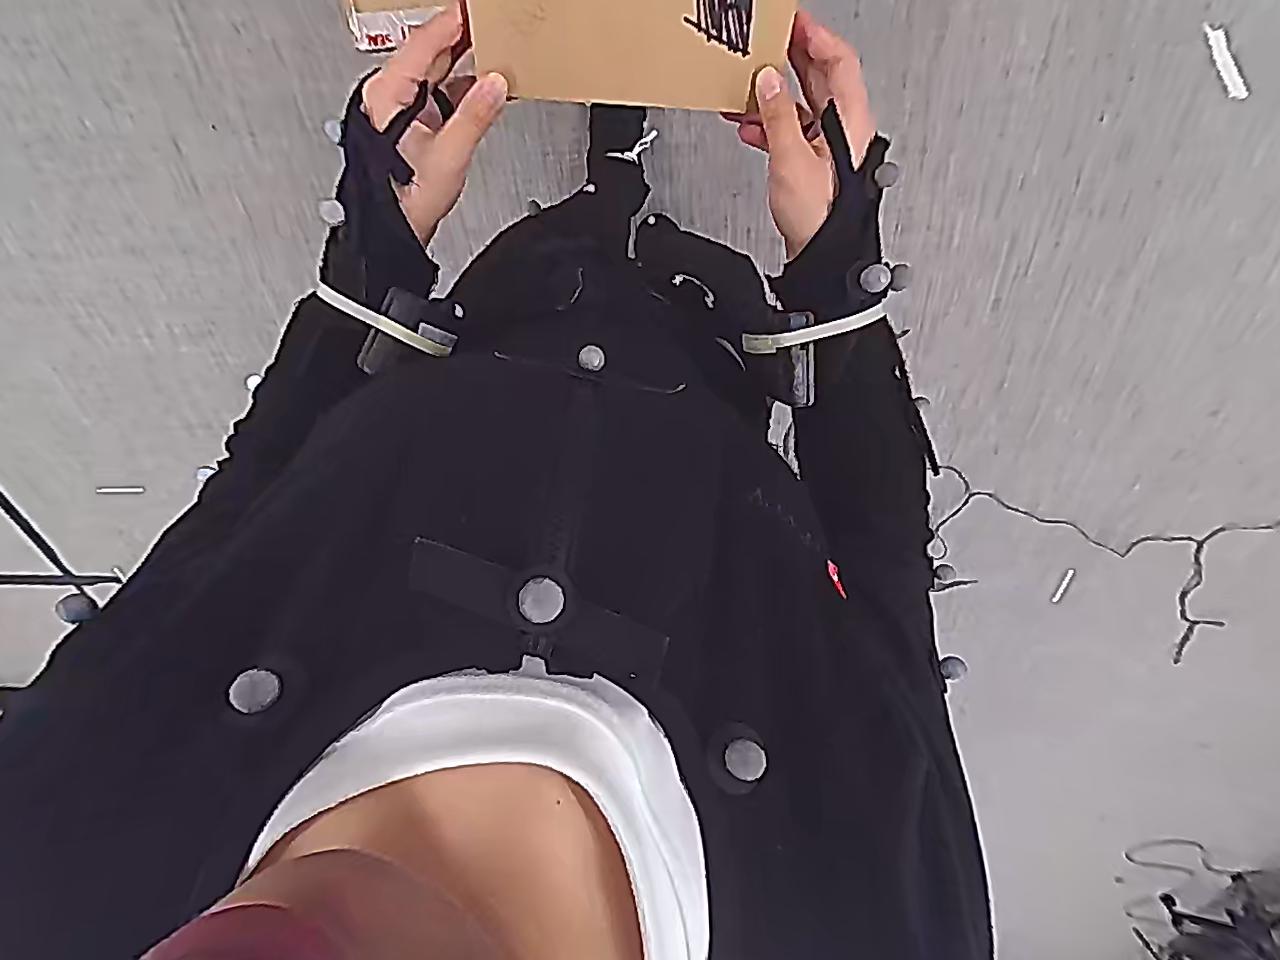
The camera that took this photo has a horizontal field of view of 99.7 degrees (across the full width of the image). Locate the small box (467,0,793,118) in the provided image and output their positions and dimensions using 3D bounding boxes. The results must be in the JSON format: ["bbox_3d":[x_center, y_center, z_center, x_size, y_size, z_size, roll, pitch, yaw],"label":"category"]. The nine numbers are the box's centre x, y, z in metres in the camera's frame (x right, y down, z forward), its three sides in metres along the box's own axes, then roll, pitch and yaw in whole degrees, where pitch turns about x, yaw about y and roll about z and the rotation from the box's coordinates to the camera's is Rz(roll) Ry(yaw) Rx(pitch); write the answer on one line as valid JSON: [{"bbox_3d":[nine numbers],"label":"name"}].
[{"bbox_3d":[-0.004,-0.336,0.317,0.179,0.176,0.168,3,137,-1],"label":"small box"}]
